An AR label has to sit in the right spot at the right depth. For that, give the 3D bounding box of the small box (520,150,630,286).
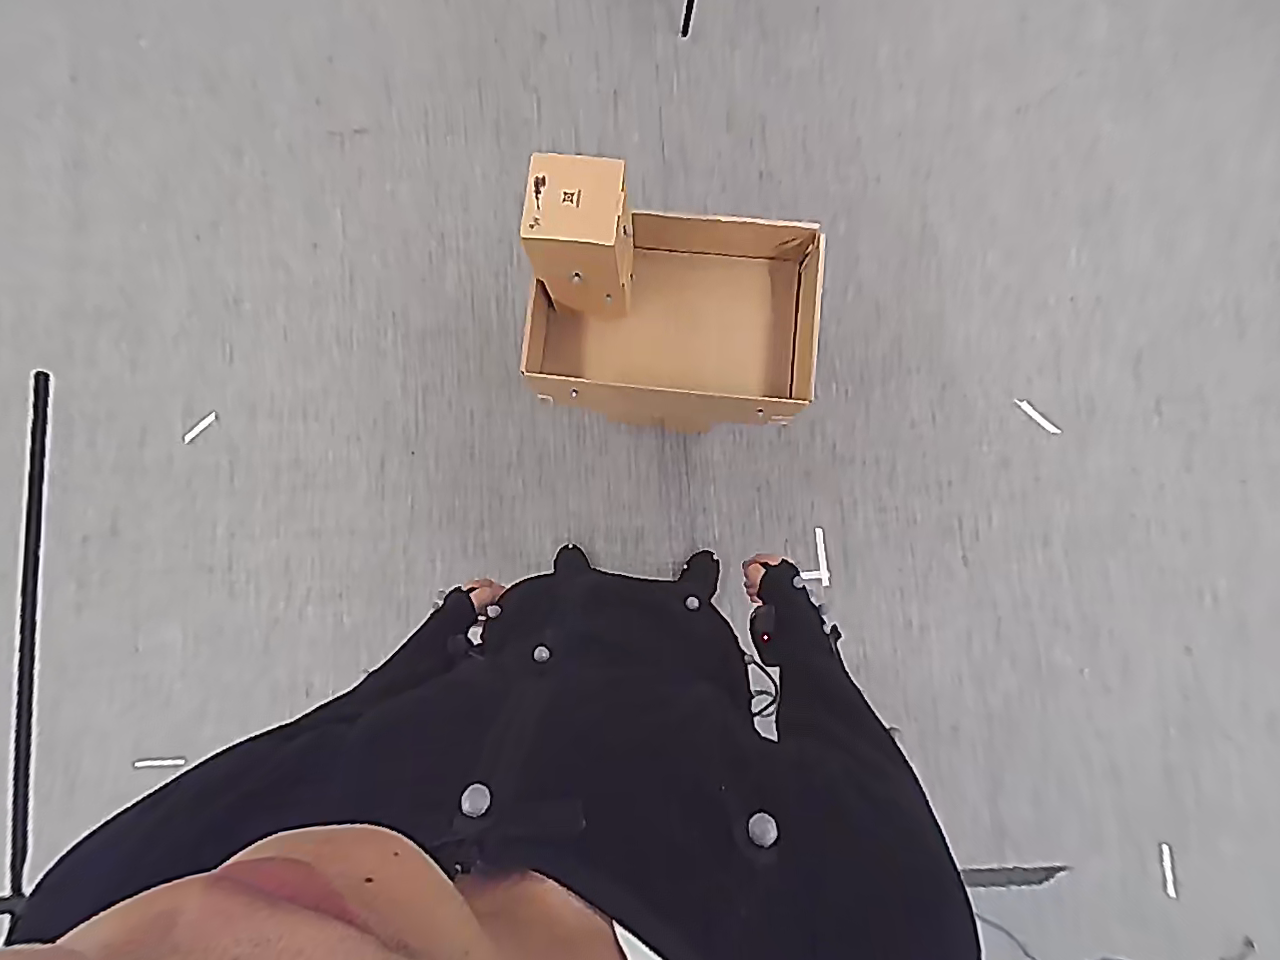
[{"bbox_3d":[-0.114,-0.490,1.035,0.179,0.176,0.168,7,84,2],"label":"small box"}]
